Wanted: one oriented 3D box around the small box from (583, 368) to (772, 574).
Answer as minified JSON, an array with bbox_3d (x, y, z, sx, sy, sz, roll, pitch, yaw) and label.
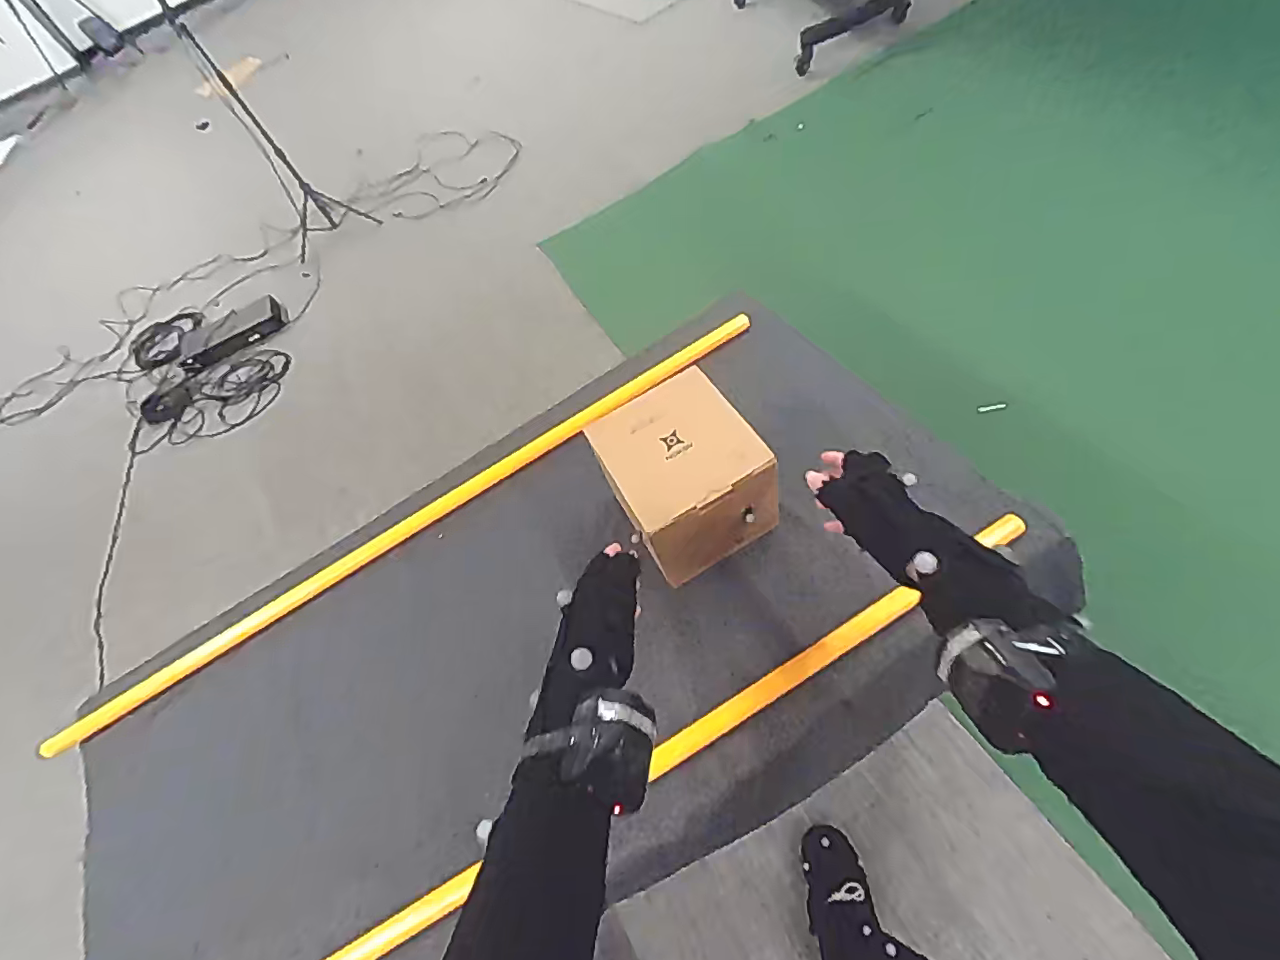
[{"bbox_3d":[0.054,-0.001,0.690,0.168,0.176,0.179,-30,56,-6],"label":"small box"}]
